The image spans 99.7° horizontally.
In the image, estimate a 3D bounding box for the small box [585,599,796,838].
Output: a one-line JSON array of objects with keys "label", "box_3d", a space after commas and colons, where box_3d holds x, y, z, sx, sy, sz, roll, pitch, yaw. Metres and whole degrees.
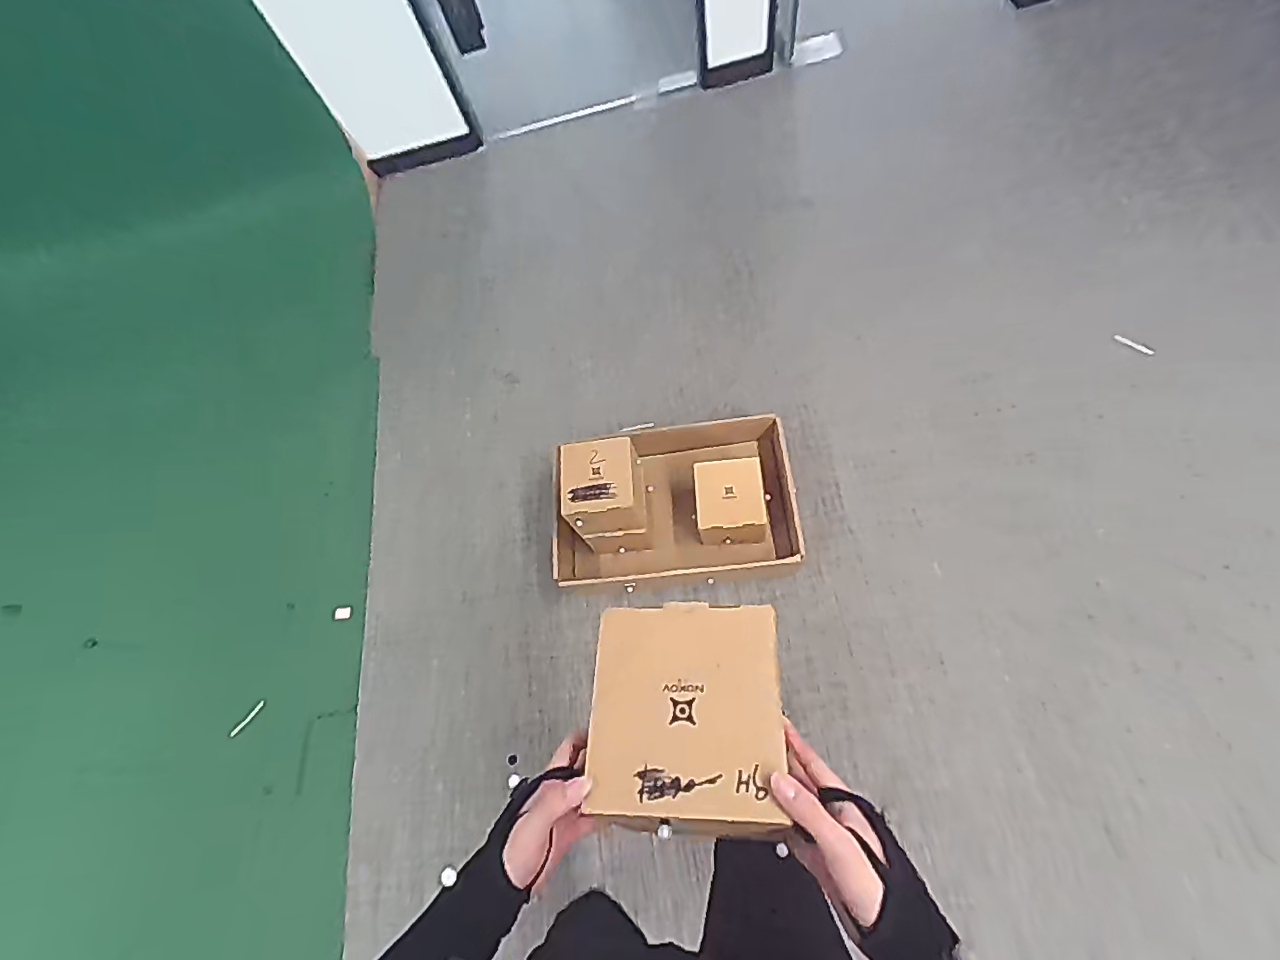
[{"label": "small box", "box_3d": [0.056, 0.232, 0.527, 0.168, 0.176, 0.179, -3, 52, 11]}]

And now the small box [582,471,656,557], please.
[{"label": "small box", "box_3d": [-0.053, 0.094, 1.434, 0.168, 0.176, 0.179, -6, 66, 8]}]
